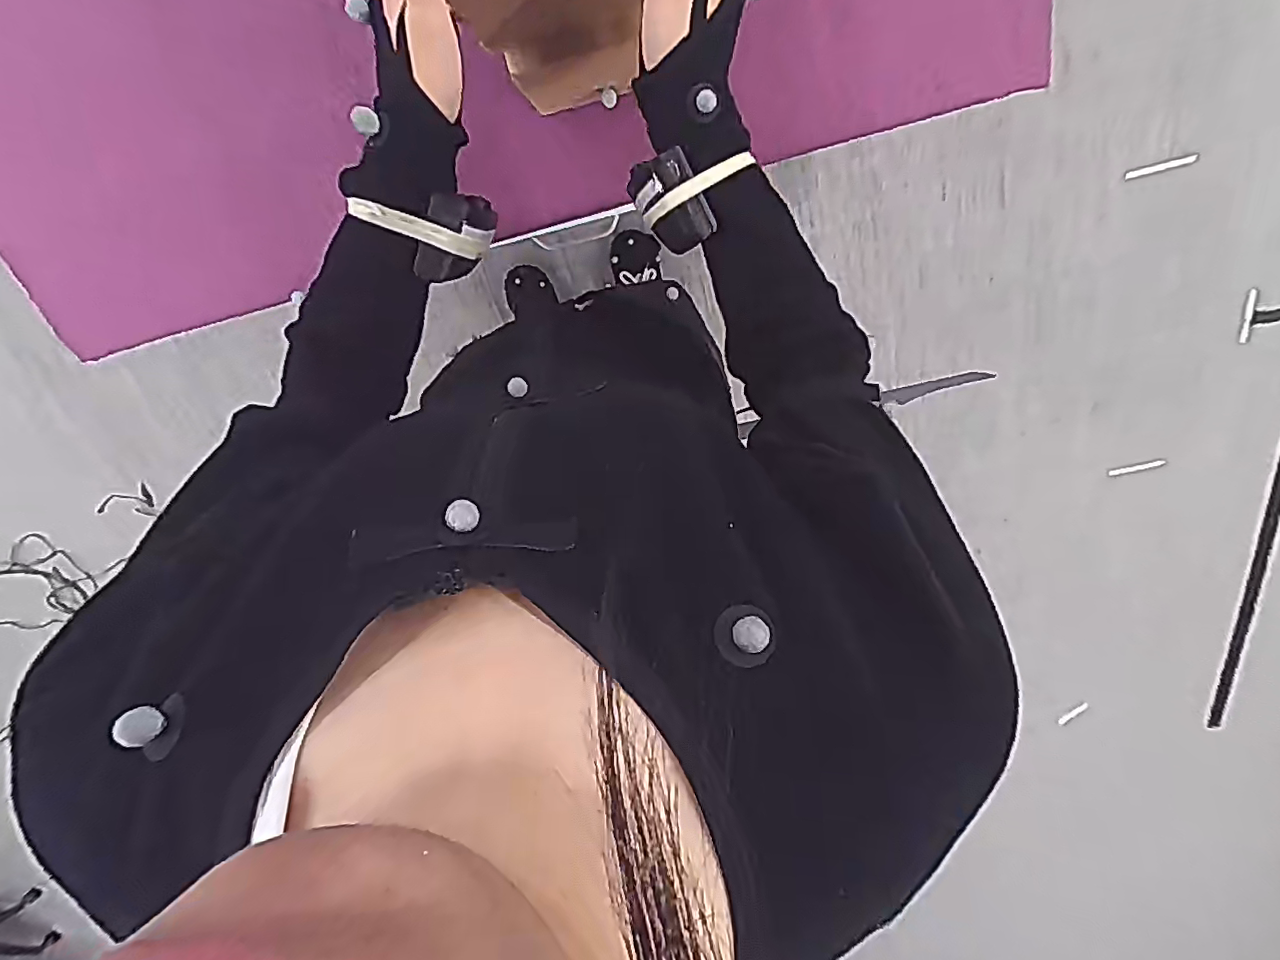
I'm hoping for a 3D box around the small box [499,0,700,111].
[{"bbox_3d":[-0.049,-0.458,0.476,0.168,0.176,0.179,-11,115,5],"label":"small box"}]

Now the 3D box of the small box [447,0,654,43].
[{"bbox_3d":[-0.056,-0.402,0.324,0.179,0.176,0.168,-11,115,6],"label":"small box"}]
